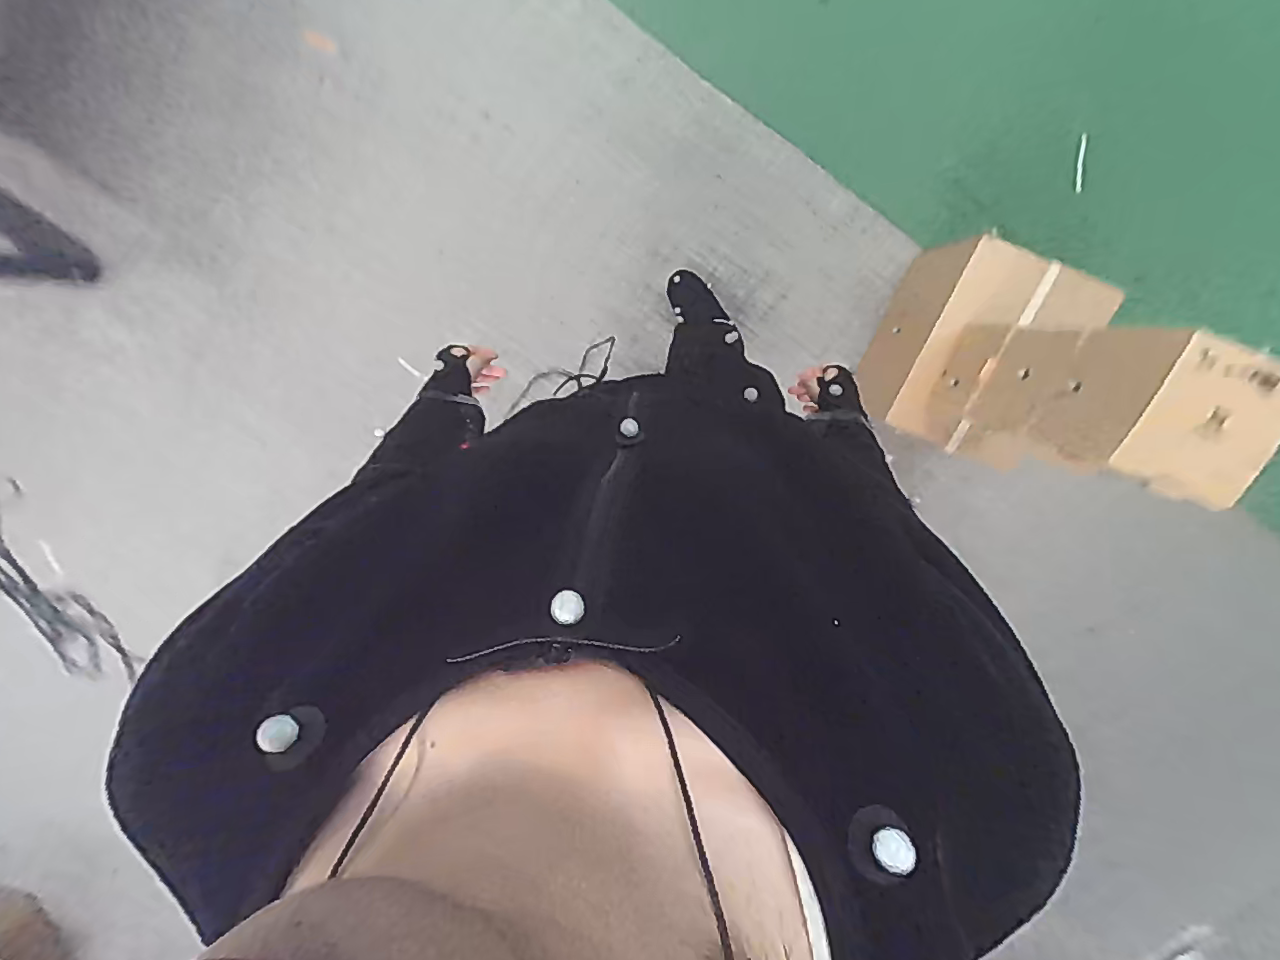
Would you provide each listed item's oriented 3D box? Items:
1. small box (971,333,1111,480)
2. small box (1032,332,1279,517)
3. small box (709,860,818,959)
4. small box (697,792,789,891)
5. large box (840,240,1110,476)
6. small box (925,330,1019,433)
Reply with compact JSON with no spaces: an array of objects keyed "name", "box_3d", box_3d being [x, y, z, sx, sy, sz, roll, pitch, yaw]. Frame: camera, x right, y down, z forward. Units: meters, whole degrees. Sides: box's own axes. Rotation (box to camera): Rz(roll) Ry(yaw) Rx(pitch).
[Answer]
[{"name":"small box","box_3d":[0.679,-0.126,0.874,0.168,0.176,0.179,21,106,-2]},{"name":"small box","box_3d":[0.673,-0.082,0.715,0.168,0.176,0.179,22,107,-3]},{"name":"small box","box_3d":[0.231,0.855,1.006,0.179,0.176,0.168,-17,106,8]},{"name":"small box","box_3d":[0.227,0.806,1.164,0.168,0.176,0.179,-19,106,8]},{"name":"large box","box_3d":[0.728,-0.273,1.254,0.320,0.320,0.408,21,105,-4]},{"name":"small box","box_3d":[0.687,-0.174,1.030,0.179,0.176,0.168,22,106,-3]}]
